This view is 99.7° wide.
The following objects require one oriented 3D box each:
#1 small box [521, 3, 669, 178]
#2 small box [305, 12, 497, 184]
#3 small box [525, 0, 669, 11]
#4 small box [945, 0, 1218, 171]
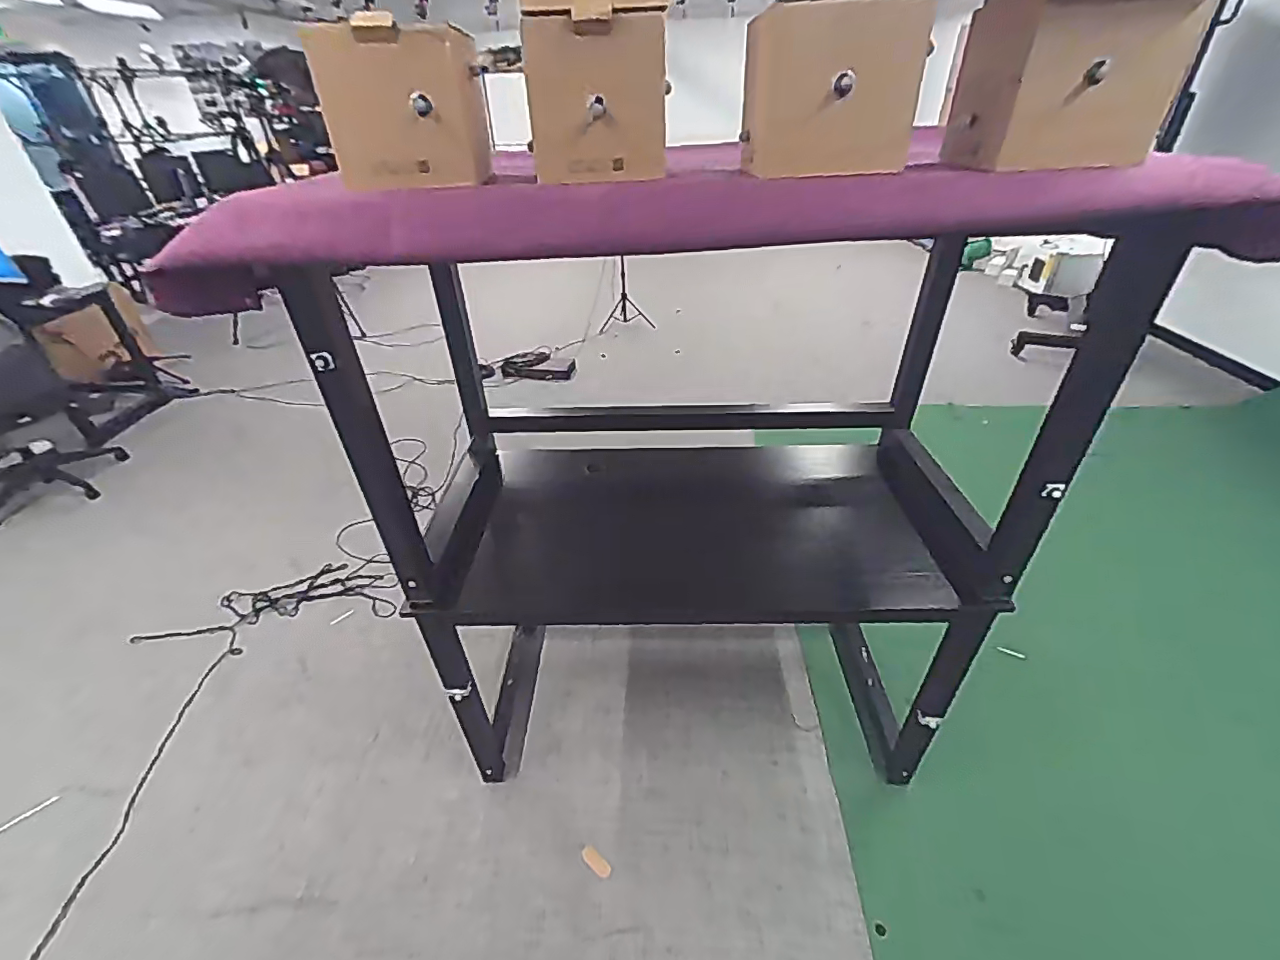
[{"bbox_3d":[-0.050,-0.497,0.707,0.168,0.176,0.179,-2,35,-1],"label":"small box"},{"bbox_3d":[-0.290,-0.489,0.707,0.168,0.176,0.179,-3,34,-3],"label":"small box"},{"bbox_3d":[-0.054,-0.629,0.611,0.168,0.176,0.179,-4,33,-2],"label":"small box"},{"bbox_3d":[0.511,-0.486,0.658,0.179,0.176,0.168,-1,35,4],"label":"small box"}]
